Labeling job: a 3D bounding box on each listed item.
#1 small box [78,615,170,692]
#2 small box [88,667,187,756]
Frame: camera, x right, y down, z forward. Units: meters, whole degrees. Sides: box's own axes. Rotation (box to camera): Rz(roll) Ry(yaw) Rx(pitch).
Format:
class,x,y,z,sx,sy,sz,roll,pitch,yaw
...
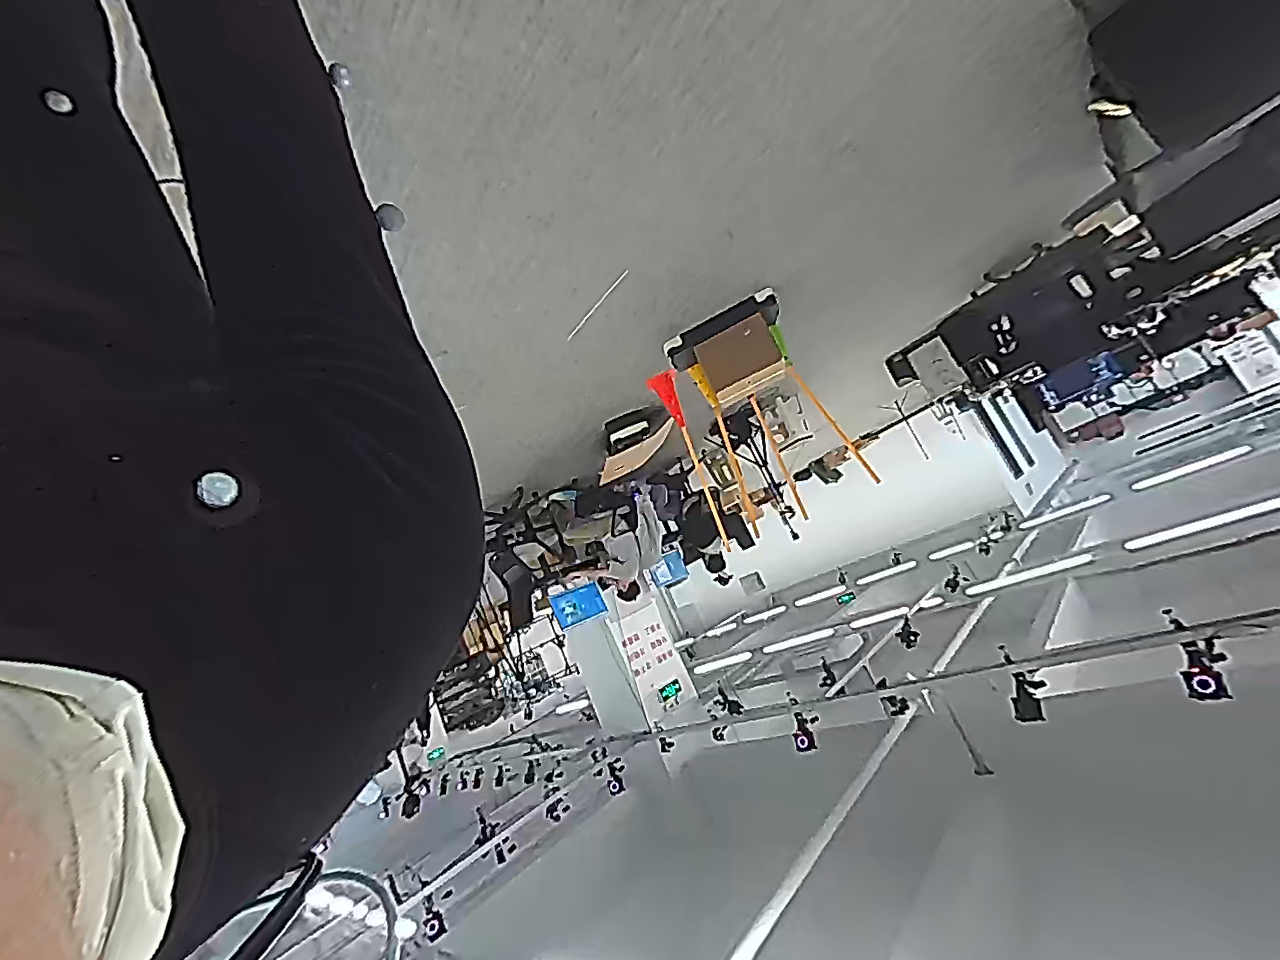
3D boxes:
class,x,y,z,sx,sy,sz,roll,pitch,yaw
small box,-1.485,0.506,1.561,0.168,0.176,0.179,-13,166,-45
small box,-1.418,0.651,1.530,0.179,0.176,0.168,-13,164,-45
